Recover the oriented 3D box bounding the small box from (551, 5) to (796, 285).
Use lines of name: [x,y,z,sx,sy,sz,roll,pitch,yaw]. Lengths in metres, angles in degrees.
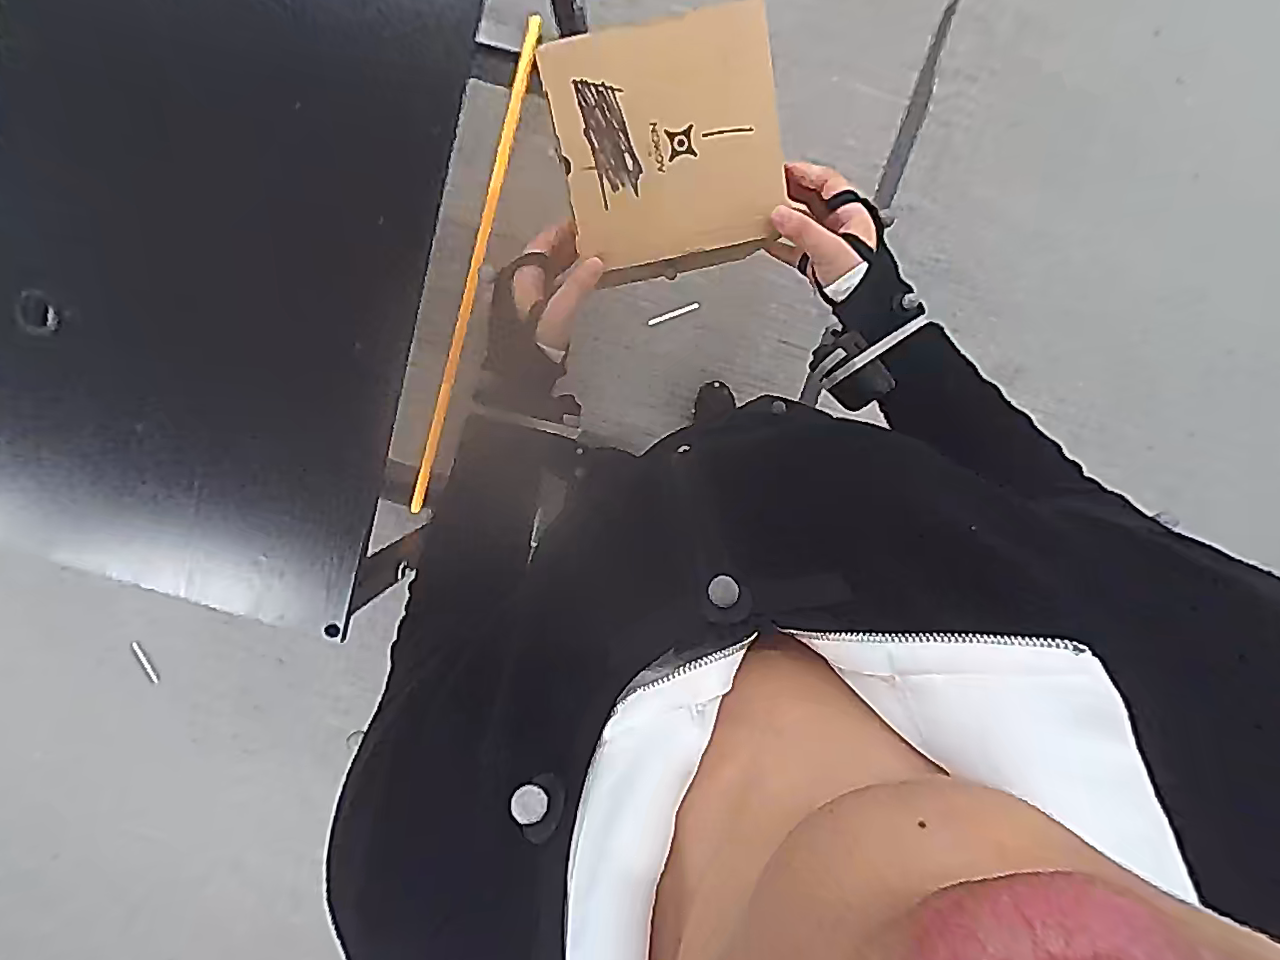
small box: [0.028,-0.286,0.506,0.179,0.176,0.168,-11,106,0]
